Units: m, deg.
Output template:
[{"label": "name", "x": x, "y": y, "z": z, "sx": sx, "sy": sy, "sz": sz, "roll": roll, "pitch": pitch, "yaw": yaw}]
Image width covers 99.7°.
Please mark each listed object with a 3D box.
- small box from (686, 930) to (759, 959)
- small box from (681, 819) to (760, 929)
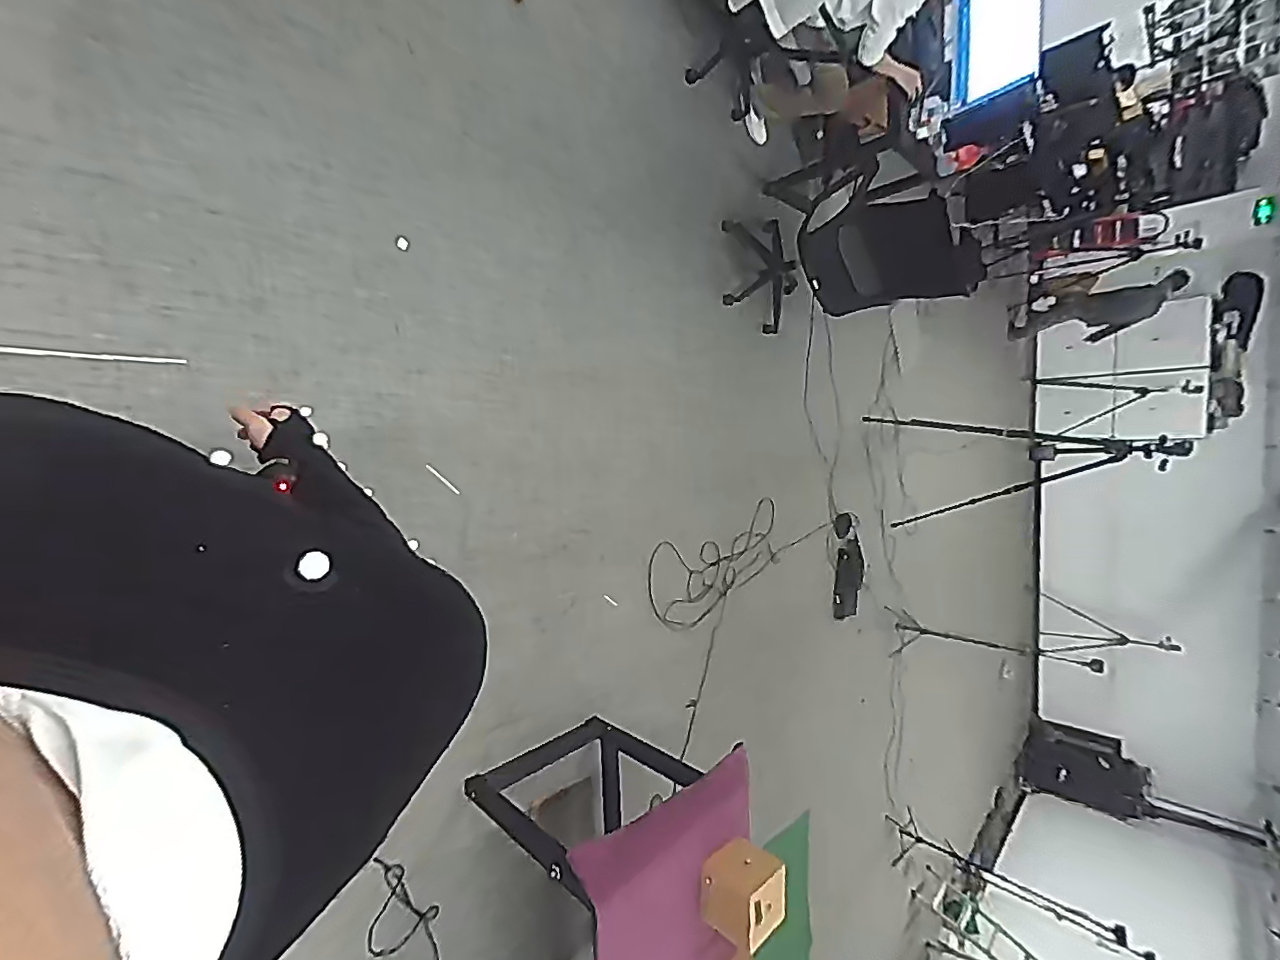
[{"label": "small box", "x": 0.242, "y": 1.531, "z": 1.638, "sx": 0.179, "sy": 0.176, "sz": 0.168, "roll": -1, "pitch": 93, "yaw": -45}, {"label": "small box", "x": 0.237, "y": 1.155, "z": 1.601, "sx": 0.179, "sy": 0.176, "sz": 0.168, "roll": -3, "pitch": 96, "yaw": -45}]
